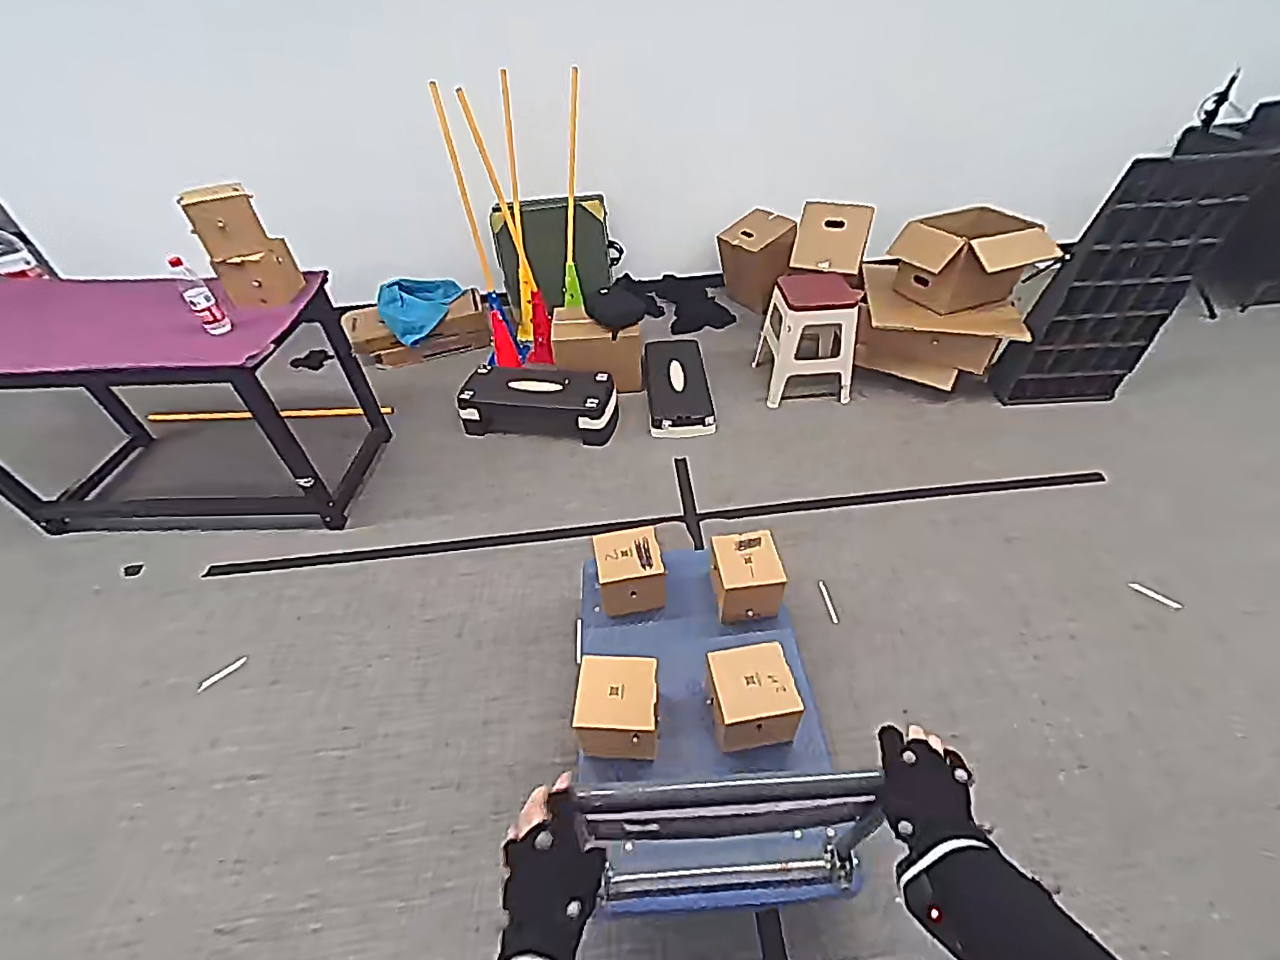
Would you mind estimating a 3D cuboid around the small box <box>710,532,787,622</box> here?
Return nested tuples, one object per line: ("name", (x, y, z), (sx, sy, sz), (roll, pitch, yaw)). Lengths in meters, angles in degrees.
("small box", (0.292, 0.269, 1.500), (0.168, 0.176, 0.179), (-6, 45, -2))

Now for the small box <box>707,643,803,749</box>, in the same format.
("small box", (0.257, 0.506, 1.259), (0.179, 0.176, 0.168), (-8, 44, -4))

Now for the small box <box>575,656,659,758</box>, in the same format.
("small box", (-0.046, 0.528, 1.256), (0.179, 0.176, 0.168), (1, 44, 3))
